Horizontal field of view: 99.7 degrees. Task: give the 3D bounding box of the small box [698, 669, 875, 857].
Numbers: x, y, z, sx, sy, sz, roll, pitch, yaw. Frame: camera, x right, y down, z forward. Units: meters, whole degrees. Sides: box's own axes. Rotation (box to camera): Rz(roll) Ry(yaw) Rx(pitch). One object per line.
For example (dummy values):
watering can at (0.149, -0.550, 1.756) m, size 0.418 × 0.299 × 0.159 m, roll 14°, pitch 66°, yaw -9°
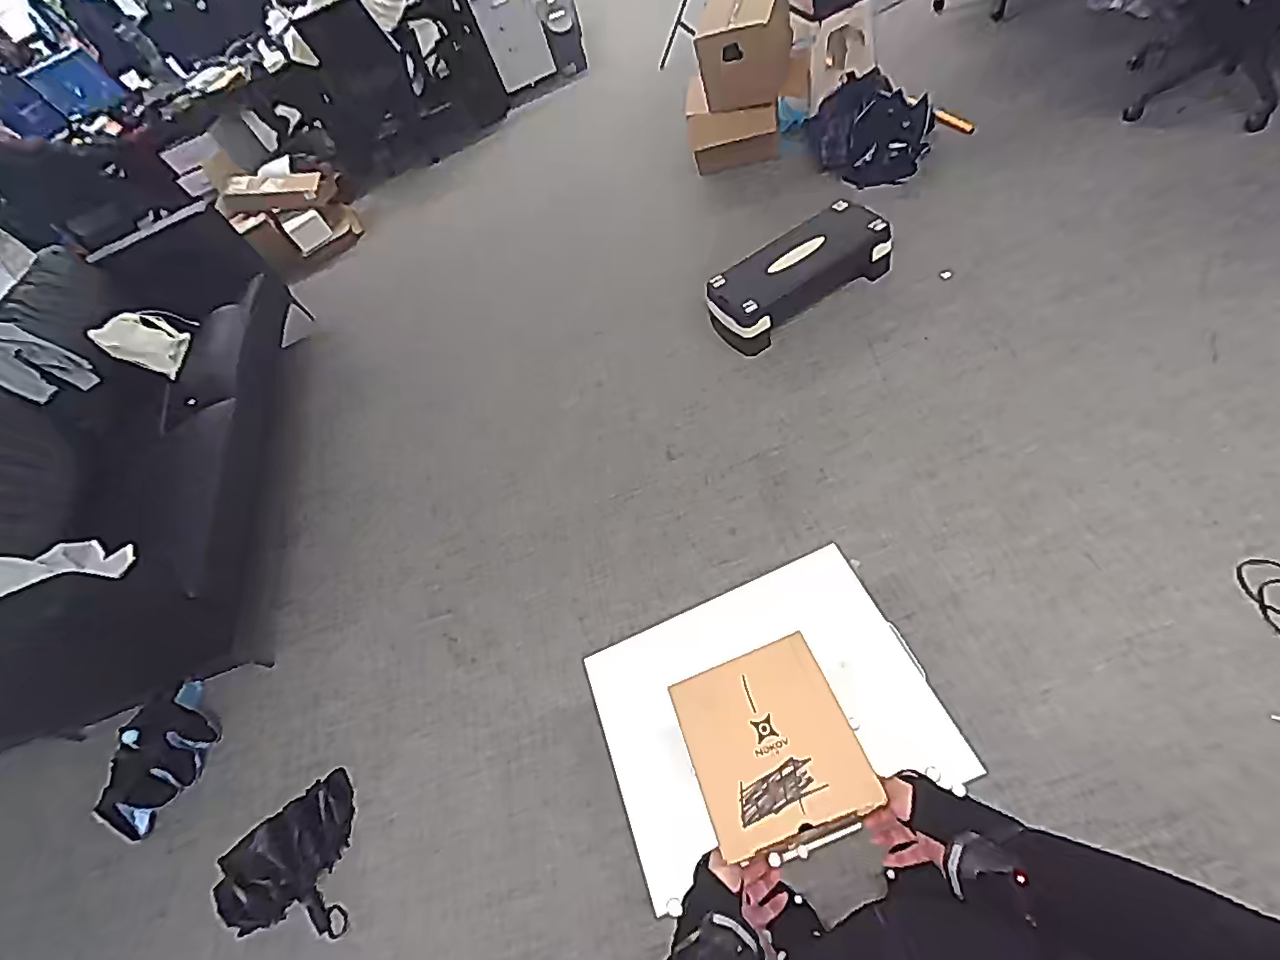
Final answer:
small box at (0.199, 0.396, 0.750) m, size 0.168 × 0.176 × 0.179 m, roll -25°, pitch 53°, yaw 3°
